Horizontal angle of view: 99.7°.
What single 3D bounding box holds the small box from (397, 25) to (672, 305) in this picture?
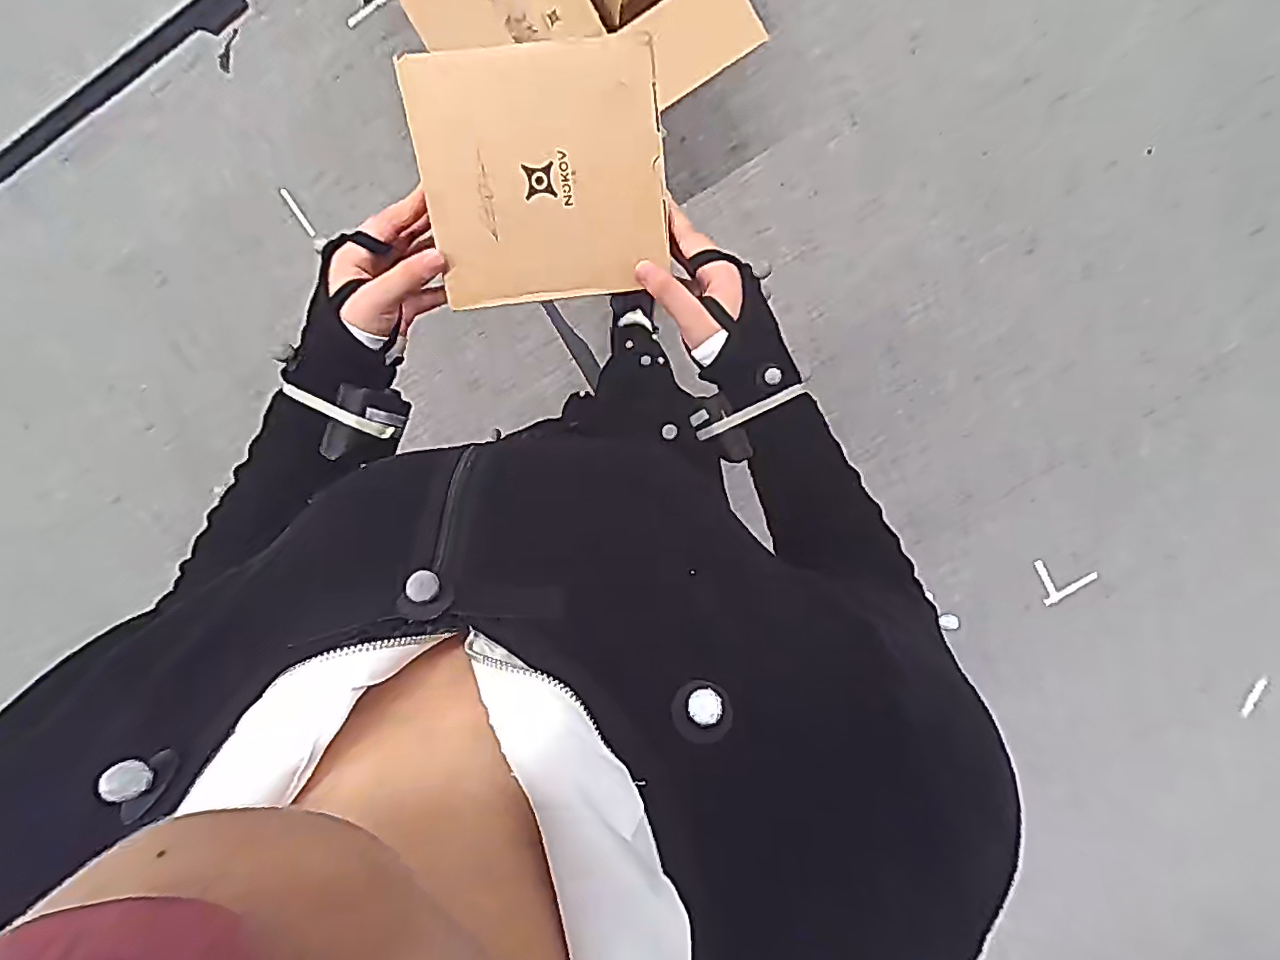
[{"bbox_3d":[-0.076,-0.250,0.468,0.179,0.176,0.168,-8,109,-1],"label":"small box"}]
